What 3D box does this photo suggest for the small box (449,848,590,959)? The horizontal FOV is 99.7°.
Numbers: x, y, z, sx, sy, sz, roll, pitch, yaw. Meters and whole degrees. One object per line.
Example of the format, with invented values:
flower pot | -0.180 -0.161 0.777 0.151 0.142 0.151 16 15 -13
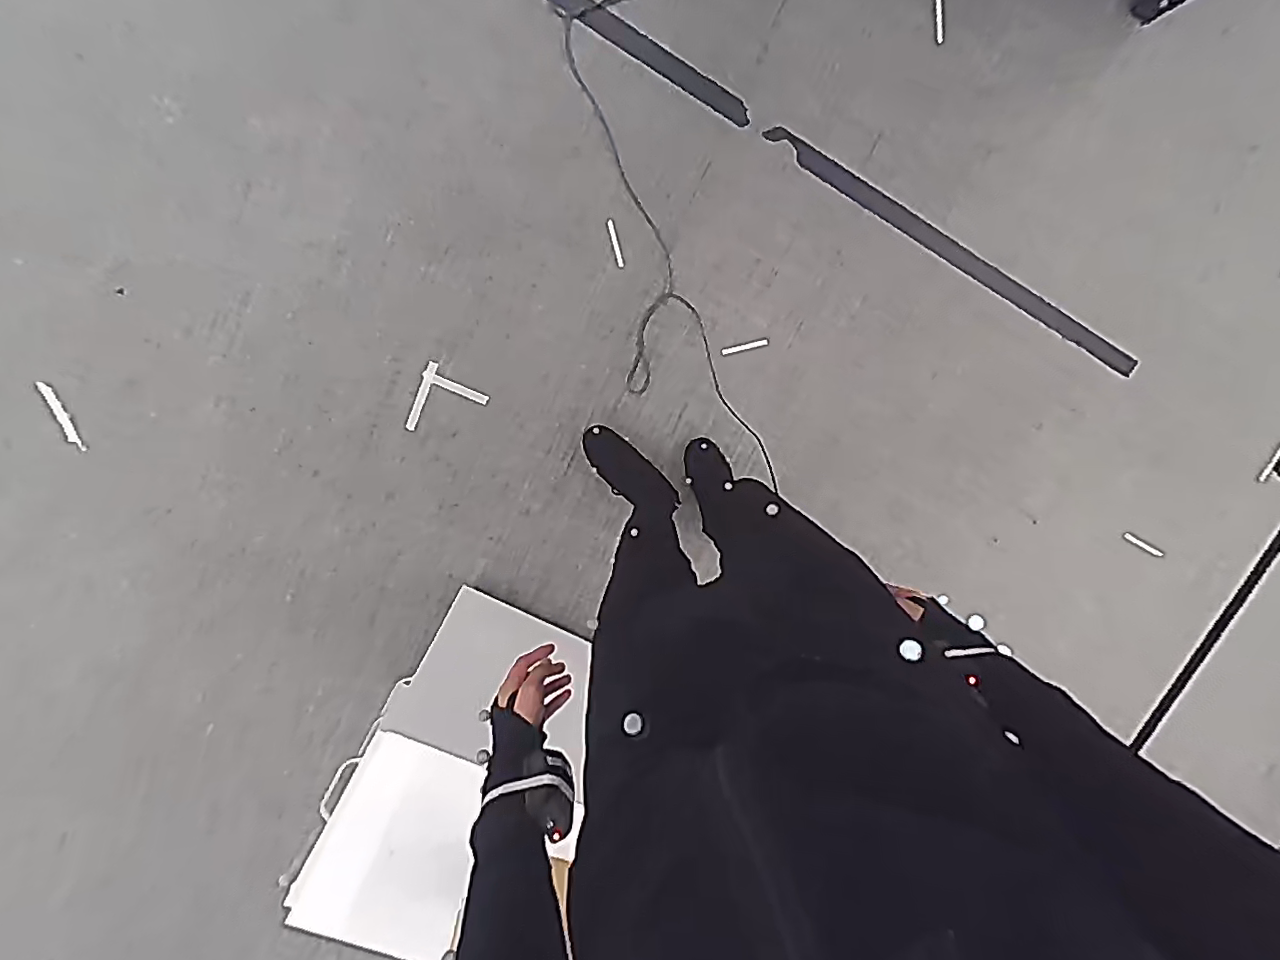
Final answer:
small box | -0.185 0.717 0.836 0.179 0.176 0.168 25 98 -10
